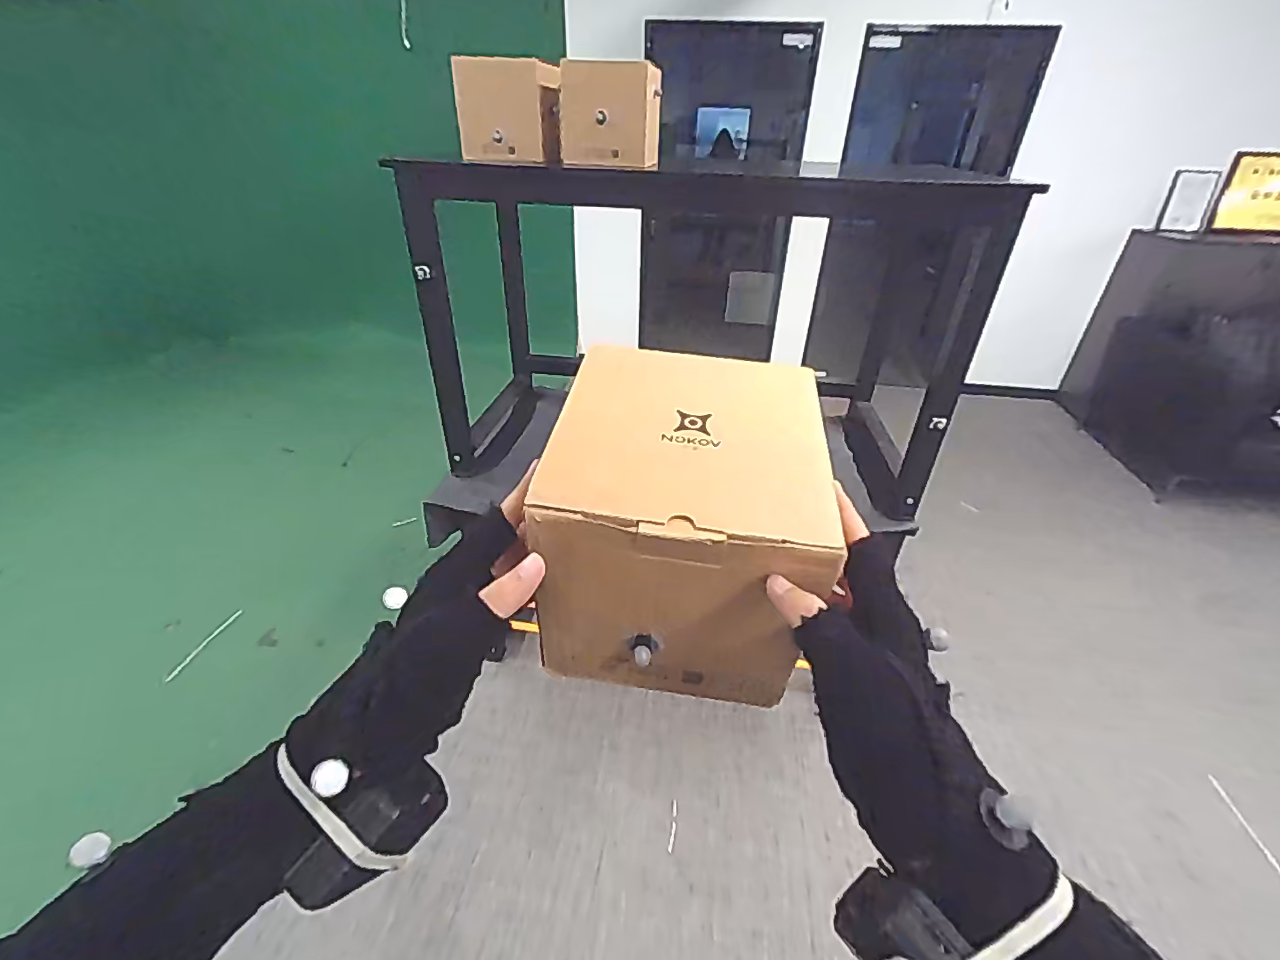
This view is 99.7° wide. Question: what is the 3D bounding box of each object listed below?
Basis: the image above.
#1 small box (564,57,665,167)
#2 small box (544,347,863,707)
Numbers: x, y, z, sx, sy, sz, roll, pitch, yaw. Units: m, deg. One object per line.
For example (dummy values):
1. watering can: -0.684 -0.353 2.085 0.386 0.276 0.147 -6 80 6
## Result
1. small box: -0.045 -0.726 1.075 0.168 0.176 0.179 7 33 7
2. small box: 0.037 0.030 0.385 0.168 0.176 0.179 7 42 4
